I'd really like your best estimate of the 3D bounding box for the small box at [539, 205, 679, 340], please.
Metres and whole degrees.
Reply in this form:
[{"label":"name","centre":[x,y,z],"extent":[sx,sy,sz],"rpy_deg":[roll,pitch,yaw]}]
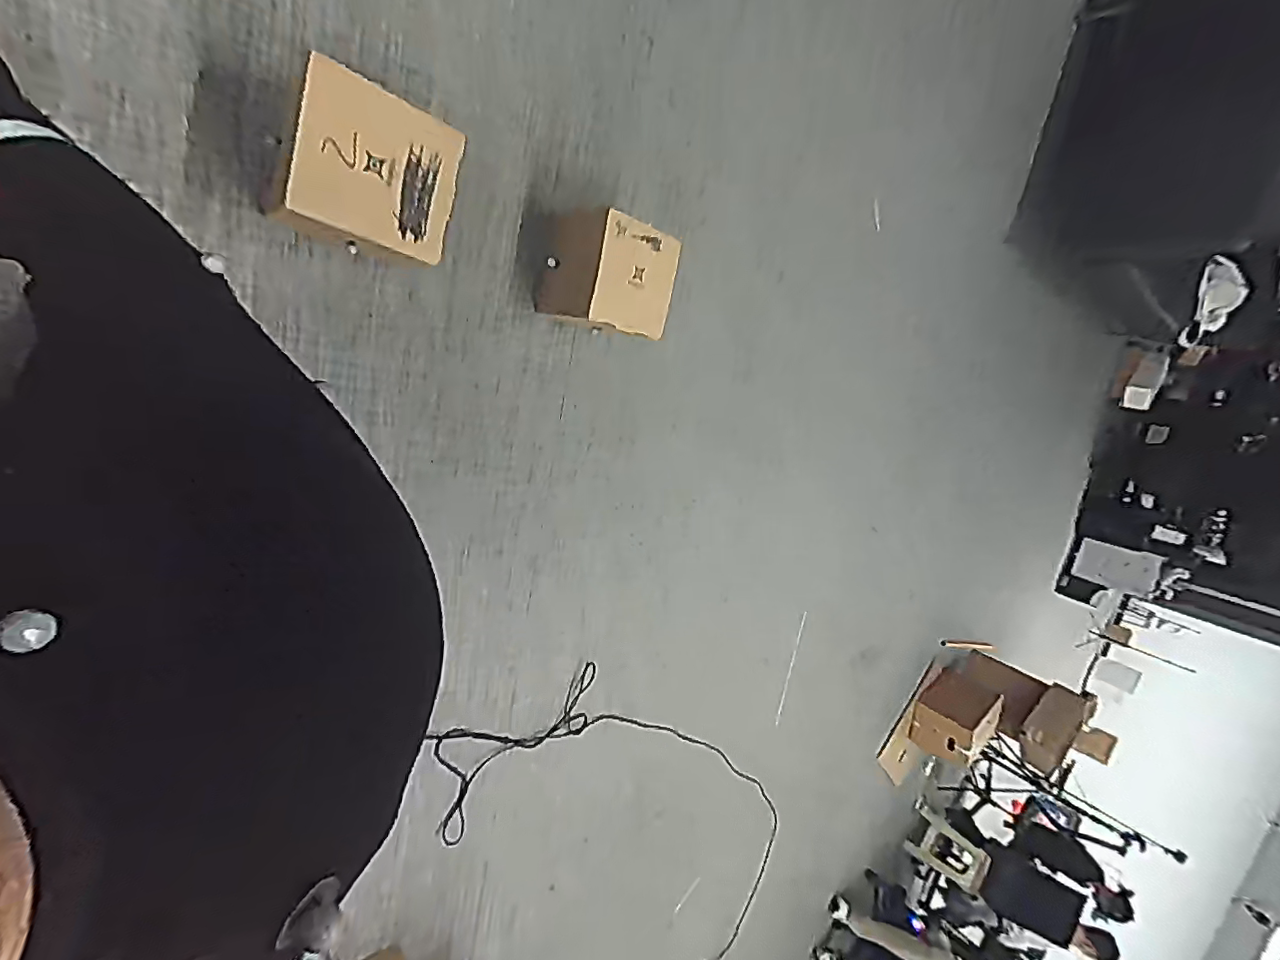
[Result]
[{"label":"small box","centre":[-0.062,-0.362,0.963],"extent":[0.168,0.176,0.179],"rpy_deg":[4,104,-42]}]
